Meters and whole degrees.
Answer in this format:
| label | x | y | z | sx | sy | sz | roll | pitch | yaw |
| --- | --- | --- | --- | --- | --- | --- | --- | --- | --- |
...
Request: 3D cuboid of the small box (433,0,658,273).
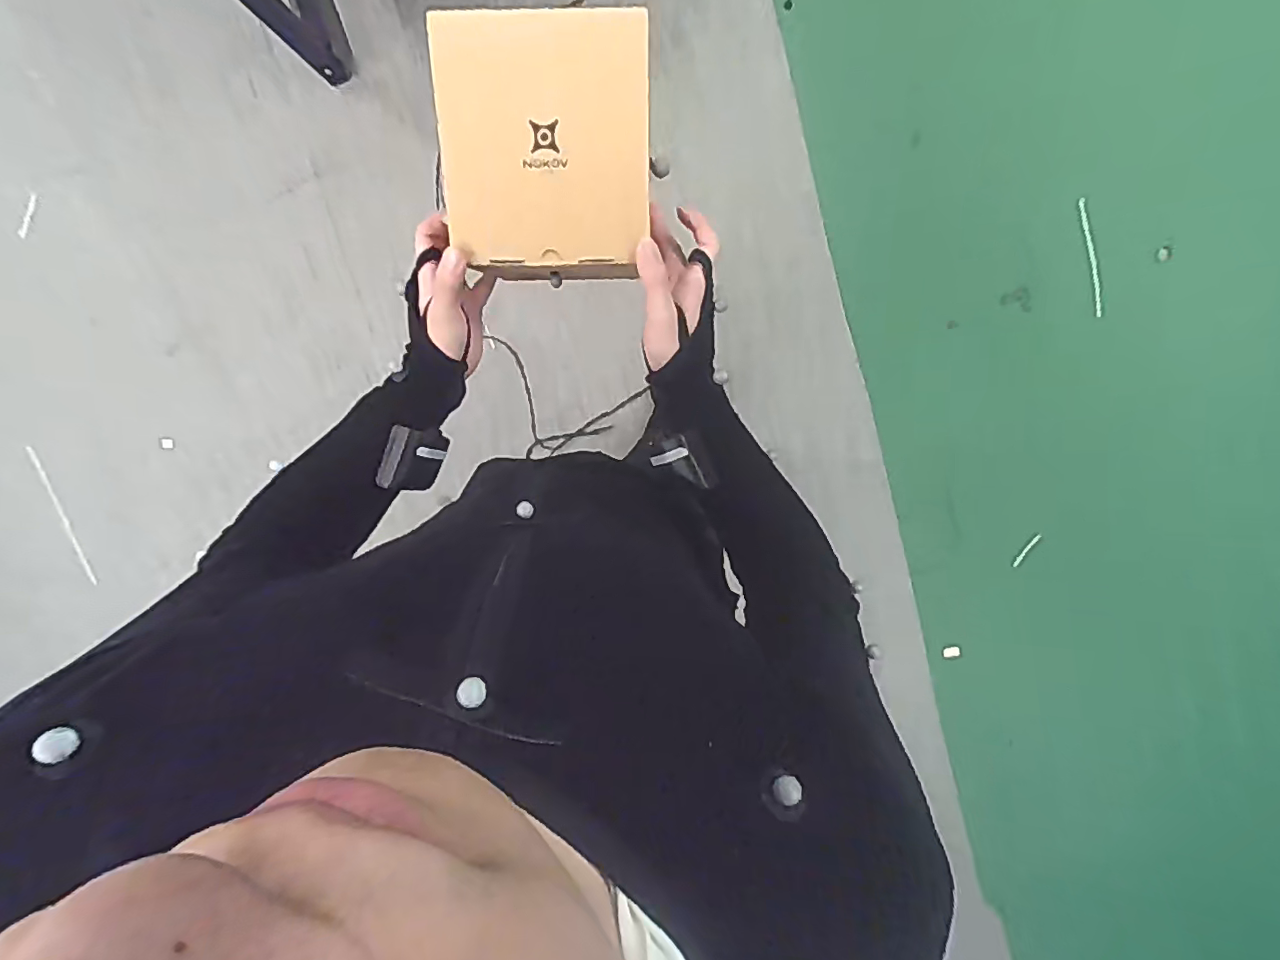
| label | x | y | z | sx | sy | sz | roll | pitch | yaw |
| --- | --- | --- | --- | --- | --- | --- | --- | --- | --- |
| small box | -0.071 | -0.289 | 0.492 | 0.168 | 0.176 | 0.179 | -1 | 108 | 0 |
